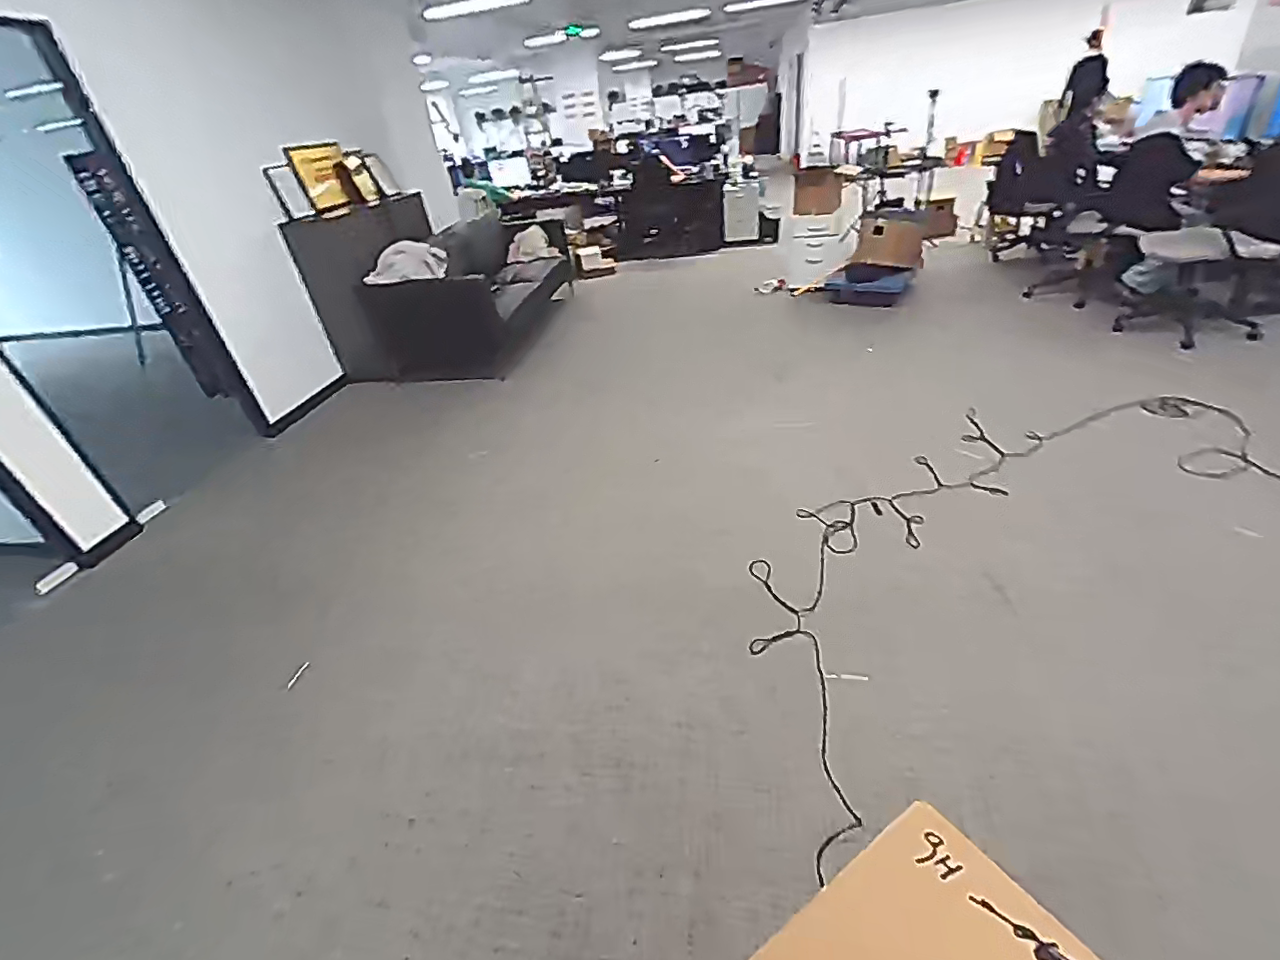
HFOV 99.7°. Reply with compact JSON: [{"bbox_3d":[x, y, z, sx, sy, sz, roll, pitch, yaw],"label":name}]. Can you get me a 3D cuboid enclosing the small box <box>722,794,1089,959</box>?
[{"bbox_3d":[0.160,0.344,0.318,0.179,0.176,0.168,-21,36,-26],"label":"small box"}]
